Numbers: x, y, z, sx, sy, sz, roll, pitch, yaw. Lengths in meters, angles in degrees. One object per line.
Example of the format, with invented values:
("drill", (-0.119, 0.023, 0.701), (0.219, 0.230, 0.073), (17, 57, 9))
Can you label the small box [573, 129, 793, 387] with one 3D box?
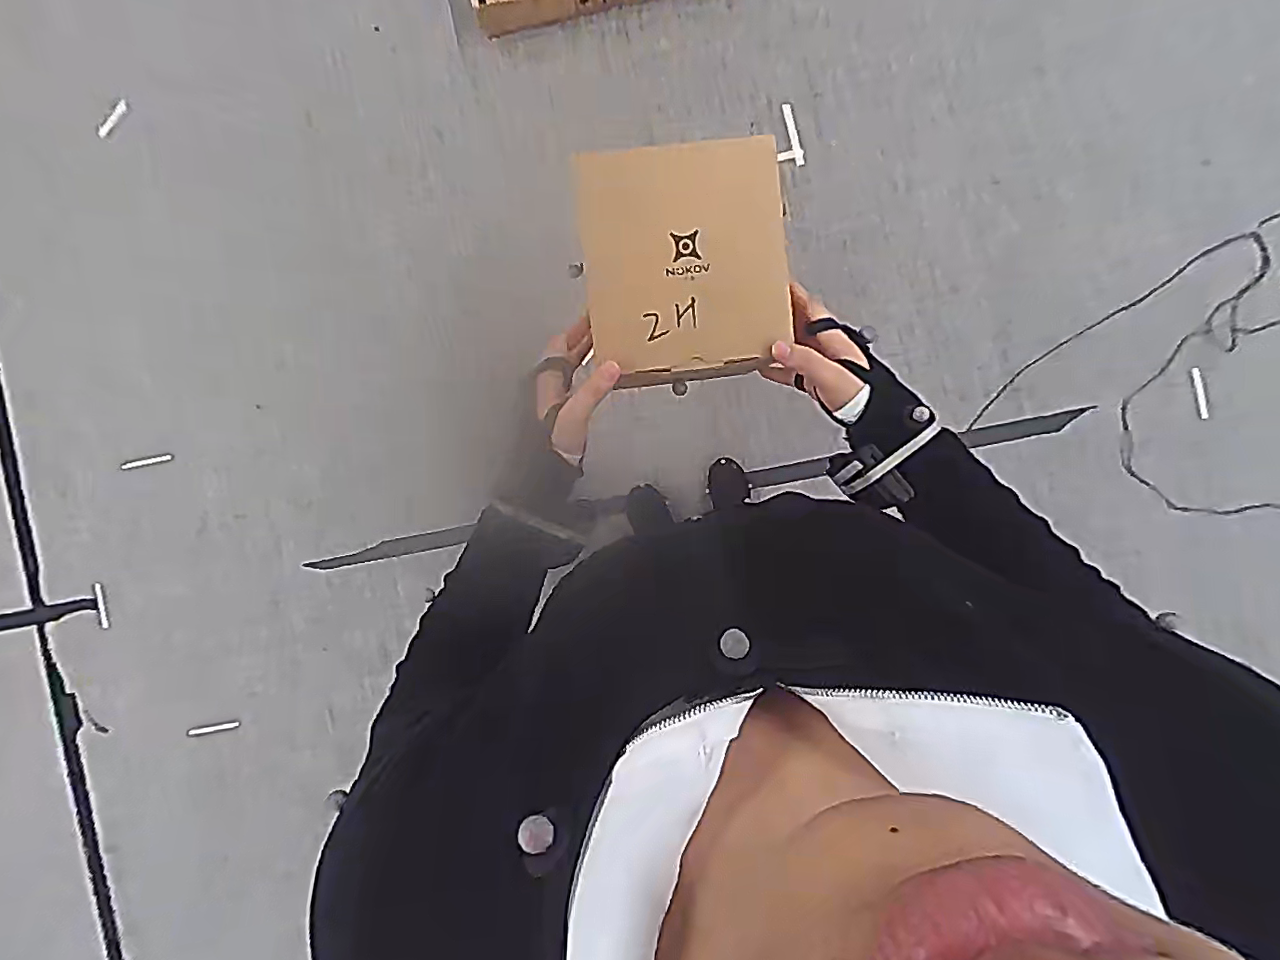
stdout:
("small box", (0.031, -0.191, 0.512), (0.168, 0.176, 0.179), (-7, 96, -2))
